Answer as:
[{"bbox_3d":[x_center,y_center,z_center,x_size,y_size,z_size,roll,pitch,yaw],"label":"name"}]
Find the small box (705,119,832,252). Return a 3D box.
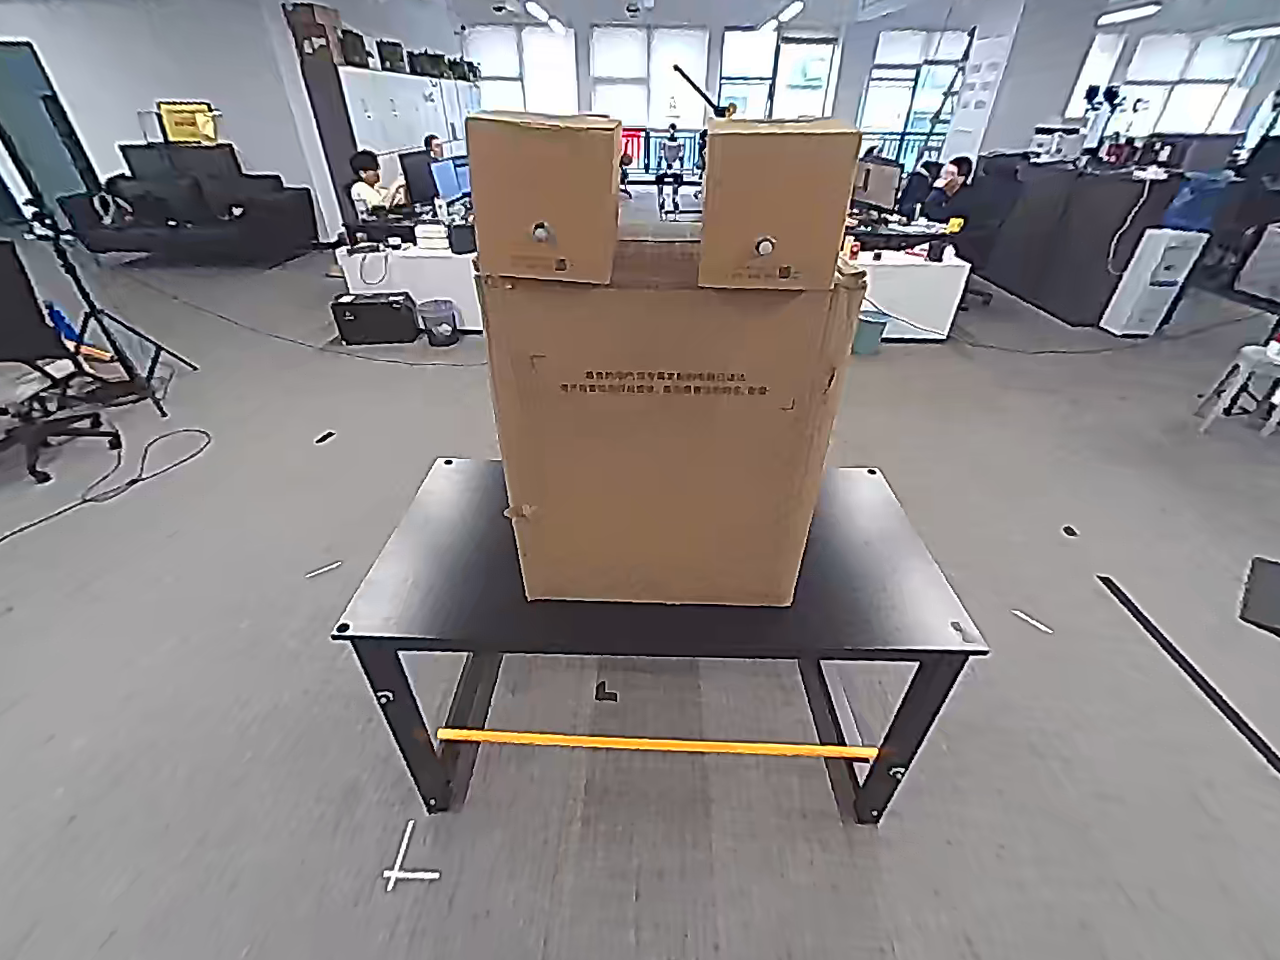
[{"bbox_3d":[0.190,-0.468,0.857,0.168,0.176,0.179,1,33,5],"label":"small box"}]
